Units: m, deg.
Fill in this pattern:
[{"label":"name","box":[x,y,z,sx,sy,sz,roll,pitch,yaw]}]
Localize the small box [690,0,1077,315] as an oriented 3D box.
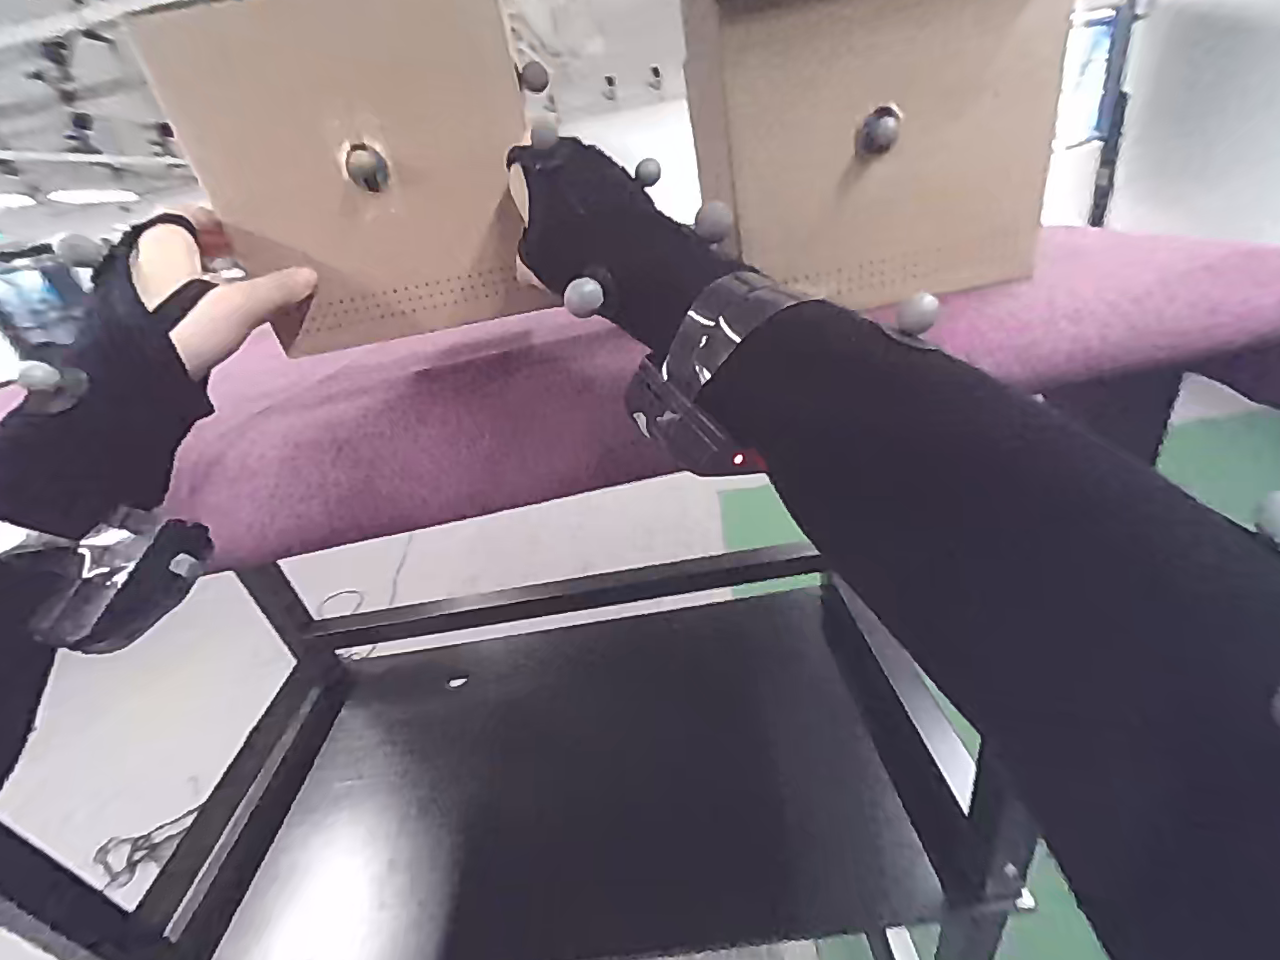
[{"label":"small box","box":[0.137,-0.224,0.356,0.179,0.176,0.168,-11,29,5]}]
